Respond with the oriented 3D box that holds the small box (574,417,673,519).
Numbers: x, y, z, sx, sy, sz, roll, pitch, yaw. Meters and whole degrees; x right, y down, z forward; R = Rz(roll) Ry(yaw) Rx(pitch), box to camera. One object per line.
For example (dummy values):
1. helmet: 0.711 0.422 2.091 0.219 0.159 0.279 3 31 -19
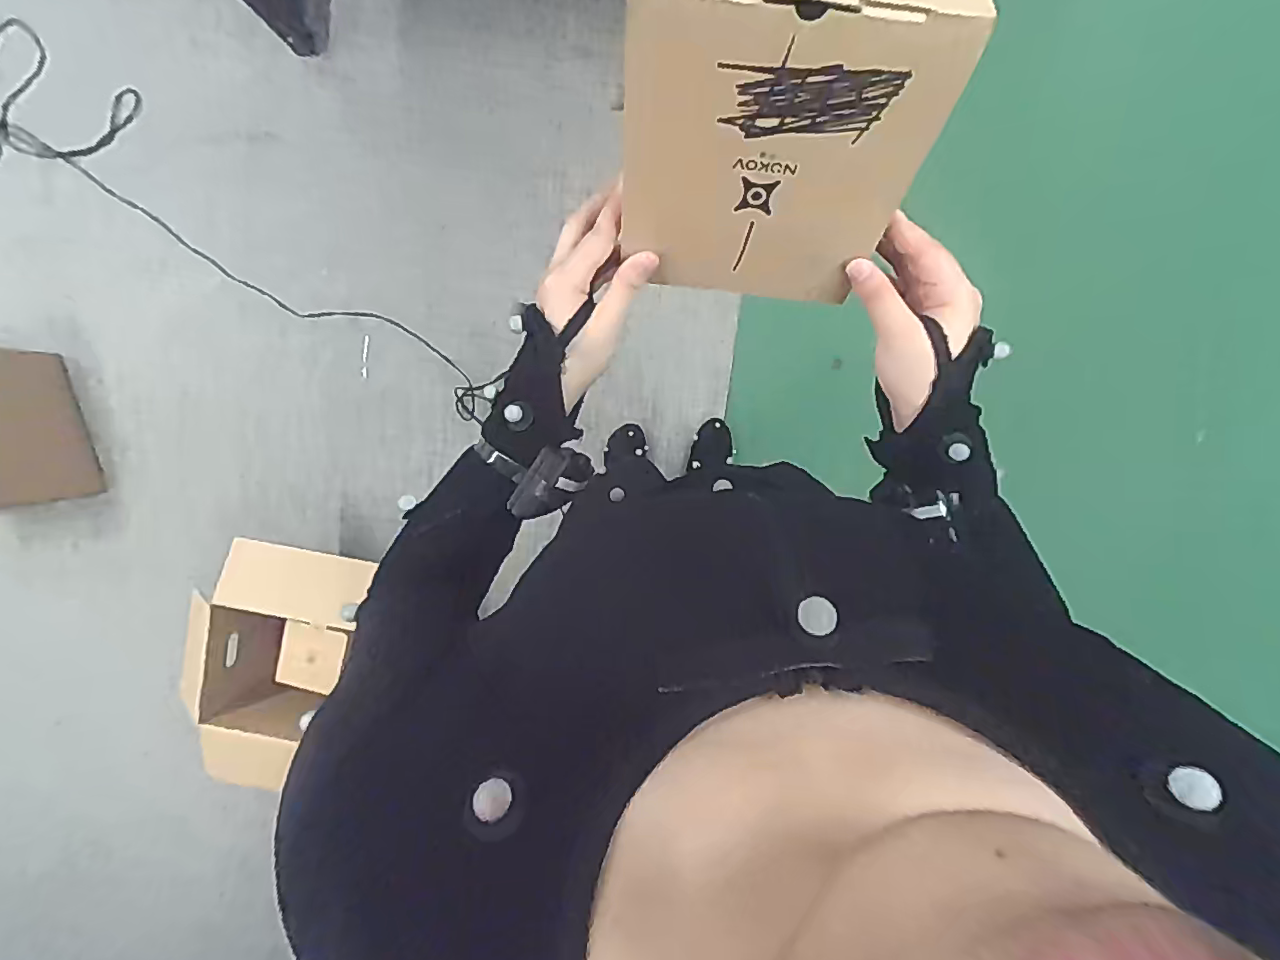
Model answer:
1. small box: -0.034 -0.032 1.378 0.179 0.168 0.176 -36 123 -18
